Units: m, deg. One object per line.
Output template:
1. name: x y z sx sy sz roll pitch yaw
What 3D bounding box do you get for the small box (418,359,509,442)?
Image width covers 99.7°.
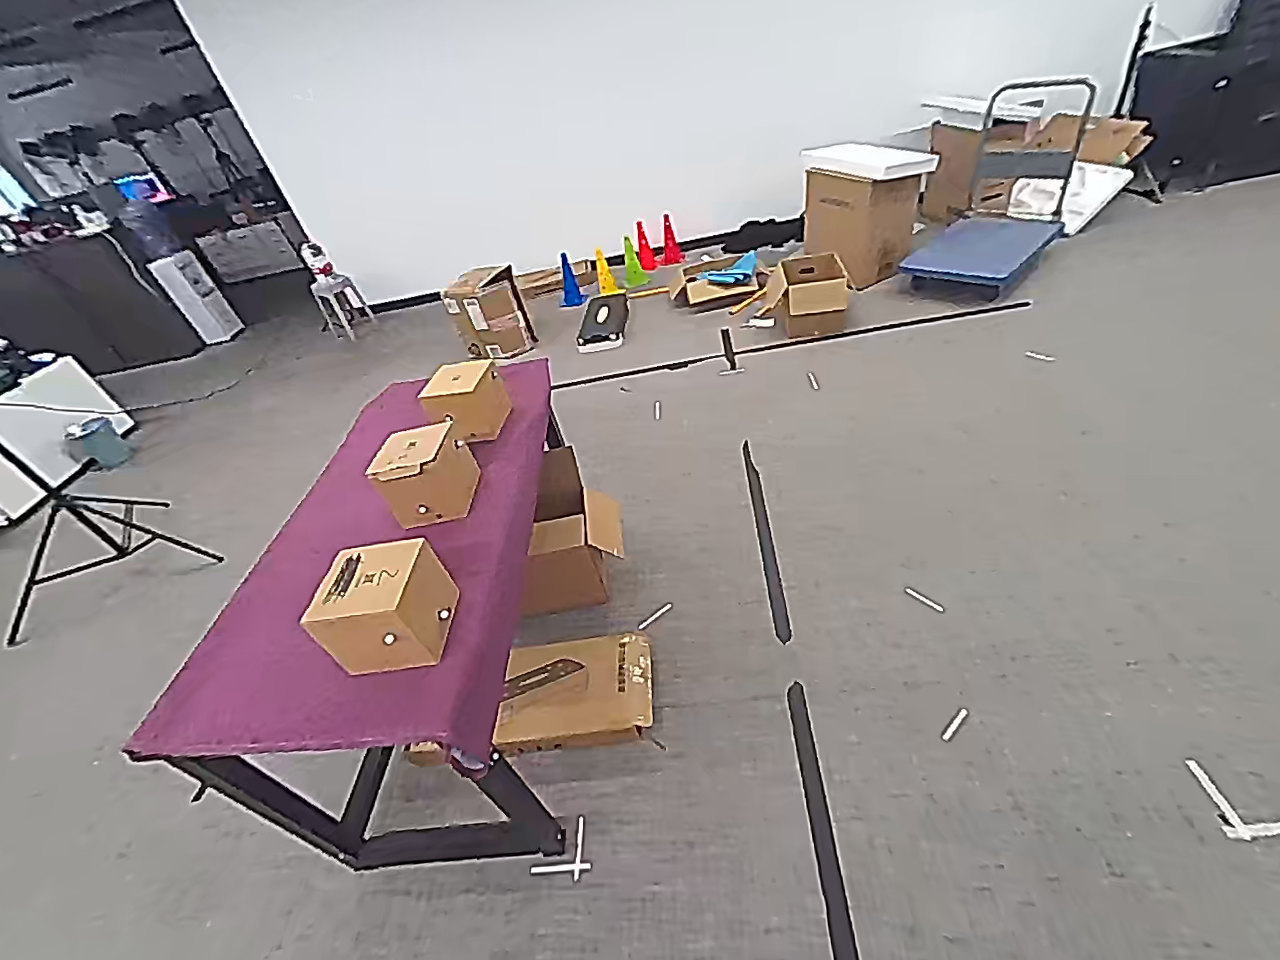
1. small box: -0.493 -0.220 1.544 0.168 0.176 0.179 -5 40 12

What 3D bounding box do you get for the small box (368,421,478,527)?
1. small box: -0.510 -0.013 1.302 0.168 0.176 0.179 -12 39 8
